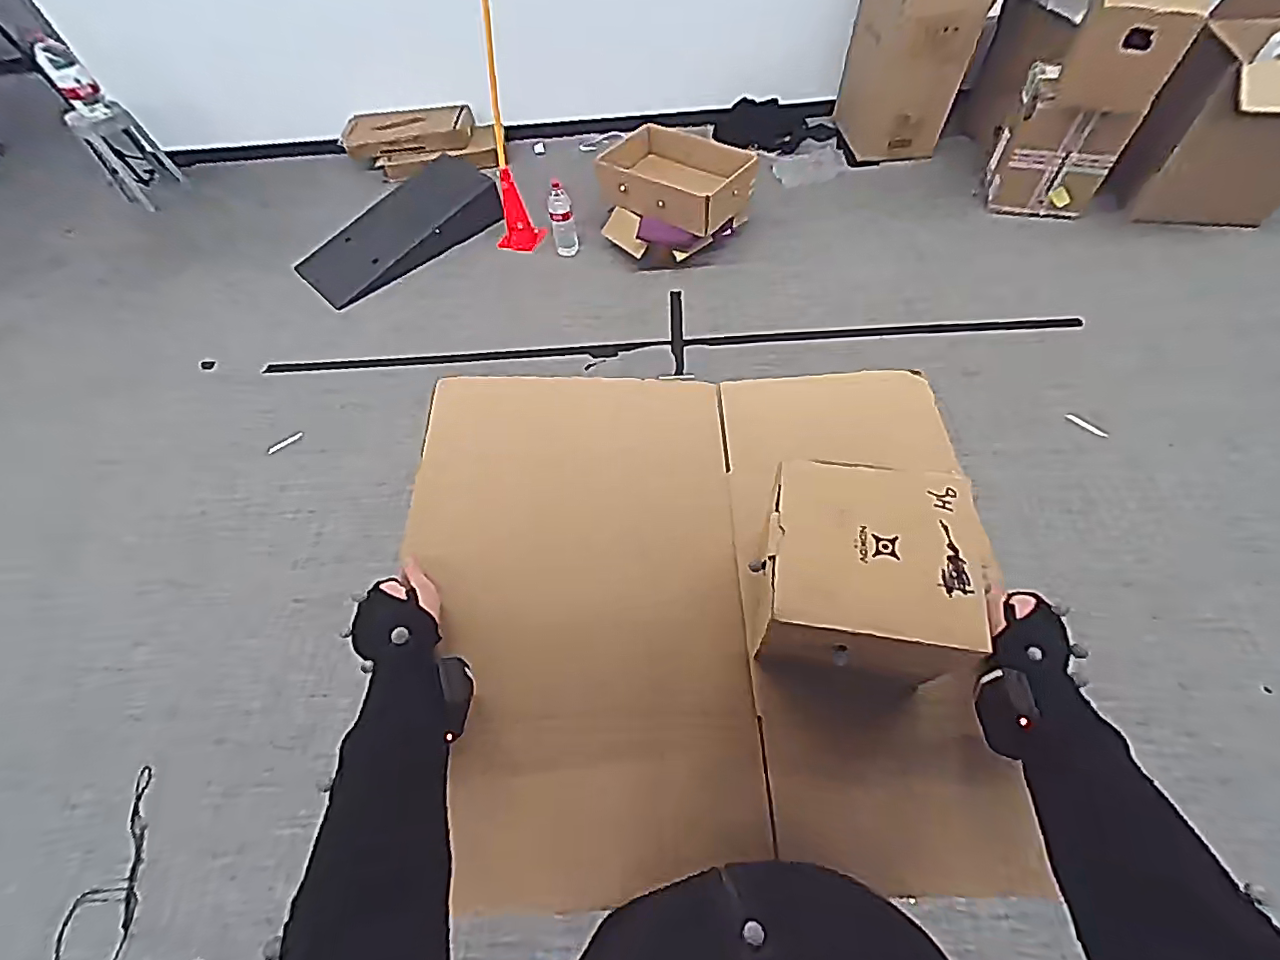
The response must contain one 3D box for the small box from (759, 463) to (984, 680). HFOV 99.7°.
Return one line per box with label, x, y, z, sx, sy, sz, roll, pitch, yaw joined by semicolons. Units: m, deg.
small box;0.220;0.100;0.561;0.179;0.176;0.168;6;62;11
